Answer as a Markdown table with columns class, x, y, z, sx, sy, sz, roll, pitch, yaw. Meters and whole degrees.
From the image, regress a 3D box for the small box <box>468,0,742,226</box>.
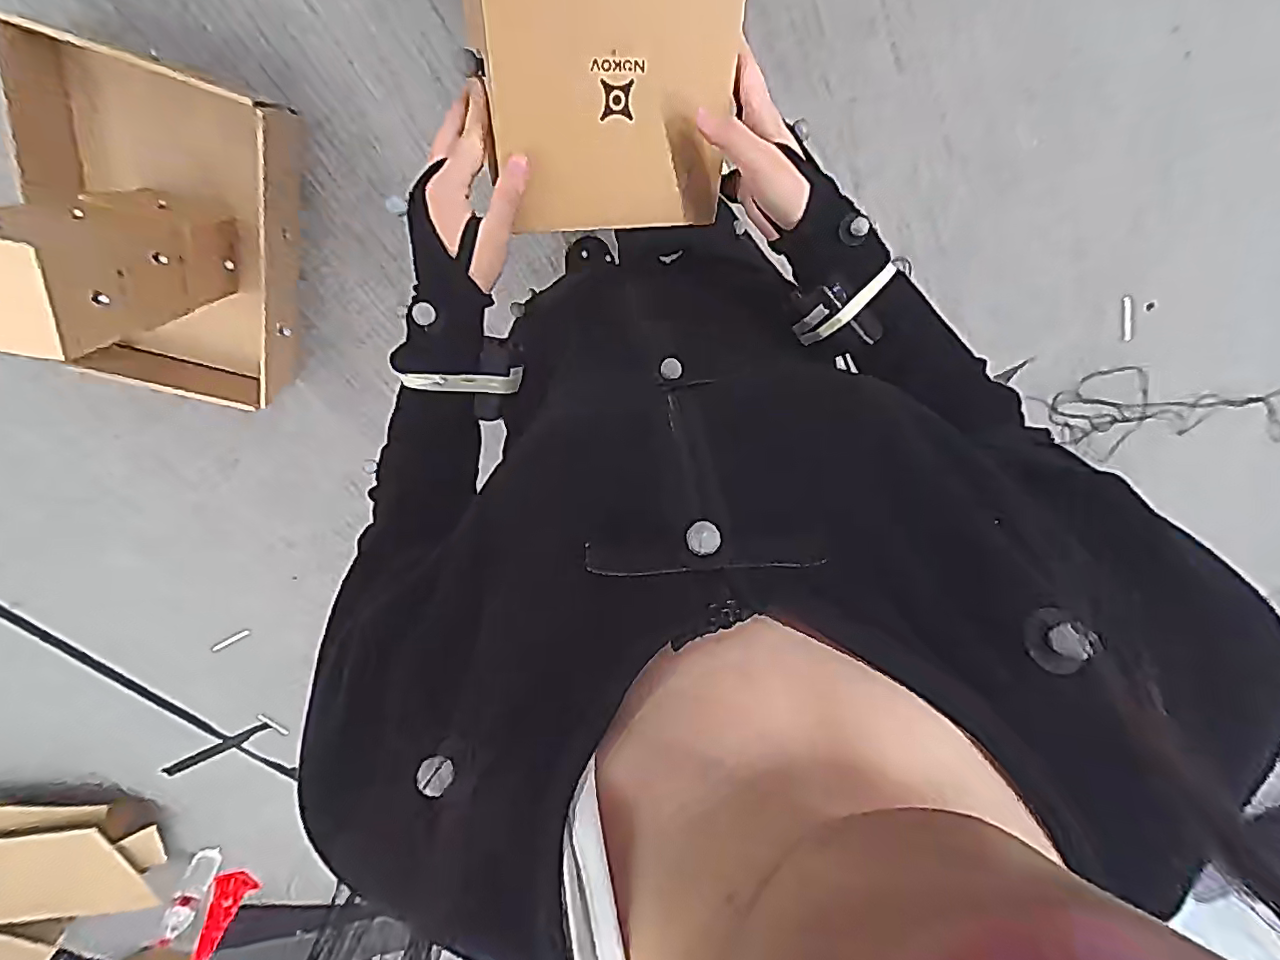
| class | x | y | z | sx | sy | sz | roll | pitch | yaw |
| --- | --- | --- | --- | --- | --- | --- | --- | --- | --- |
| small box | -0.038 | -0.315 | 0.412 | 0.168 | 0.176 | 0.179 | -9 | 135 | -13 |

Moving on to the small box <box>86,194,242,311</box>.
| class | x | y | z | sx | sy | sz | roll | pitch | yaw |
| --- | --- | --- | --- | --- | --- | --- | --- | --- | --- |
| small box | -0.951 | -0.467 | 1.099 | 0.179 | 0.176 | 0.168 | 12 | 119 | -15 |

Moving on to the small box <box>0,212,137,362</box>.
| class | x | y | z | sx | sy | sz | roll | pitch | yaw |
| --- | --- | --- | --- | --- | --- | --- | --- | --- | --- |
| small box | -0.918 | -0.297 | 0.821 | 0.179 | 0.176 | 0.168 | 8 | 118 | -12 |

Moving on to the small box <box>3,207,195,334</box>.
| class | x | y | z | sx | sy | sz | roll | pitch | yaw |
| --- | --- | --- | --- | --- | --- | --- | --- | --- | --- |
| small box | -0.939 | -0.378 | 0.964 | 0.179 | 0.176 | 0.168 | 9 | 118 | -11 |
